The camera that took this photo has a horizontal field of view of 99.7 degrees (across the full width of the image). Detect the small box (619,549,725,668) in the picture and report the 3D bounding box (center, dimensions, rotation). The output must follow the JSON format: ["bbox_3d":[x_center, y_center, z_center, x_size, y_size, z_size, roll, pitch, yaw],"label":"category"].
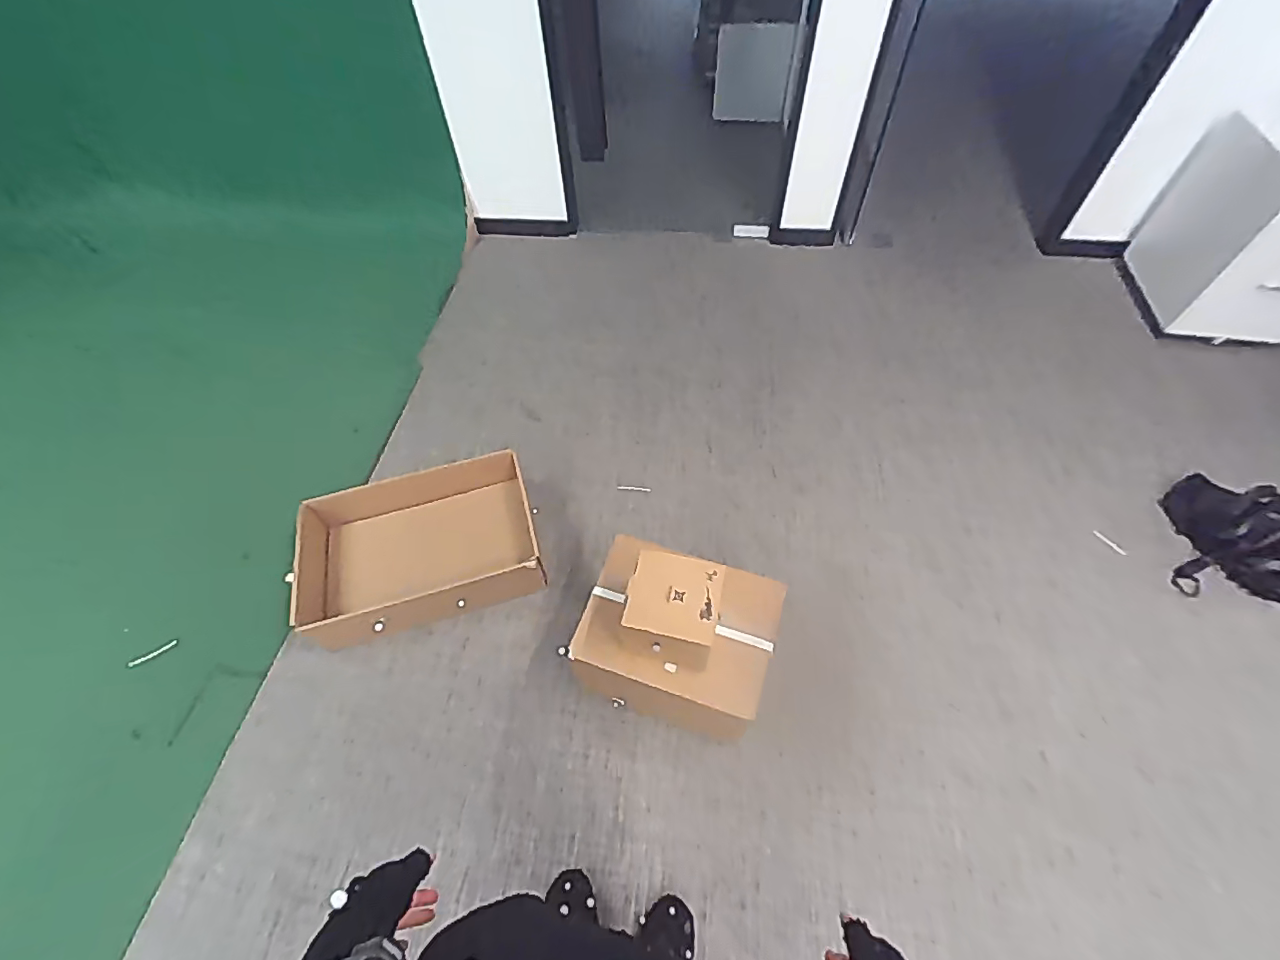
[{"bbox_3d":[0.066,0.263,1.093,0.179,0.176,0.168,10,57,10],"label":"small box"}]
